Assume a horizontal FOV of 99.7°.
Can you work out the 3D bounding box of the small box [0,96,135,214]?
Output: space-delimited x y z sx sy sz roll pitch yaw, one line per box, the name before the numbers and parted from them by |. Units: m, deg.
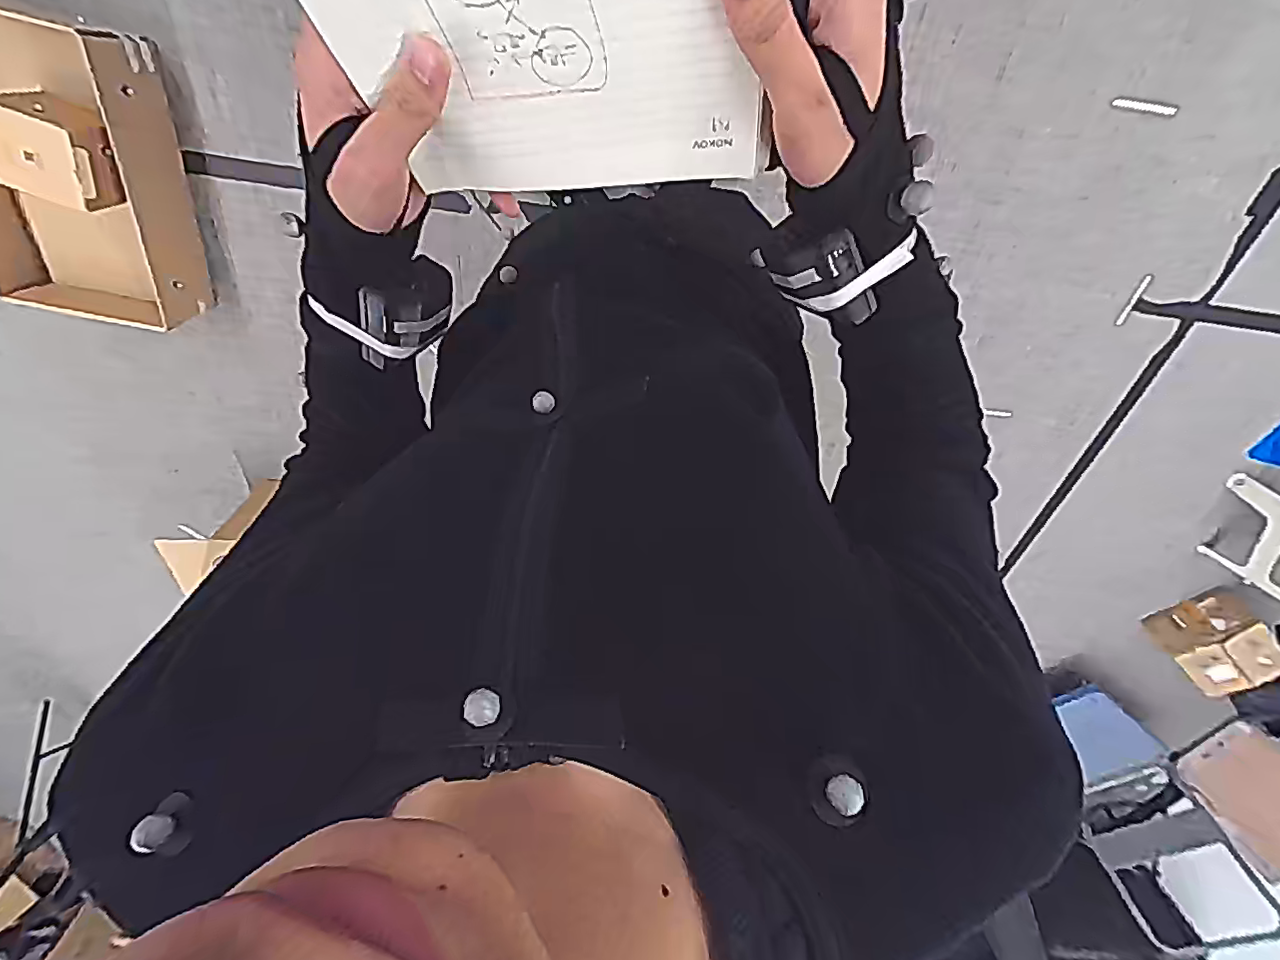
small box | -1.259 -0.716 1.182 0.179 0.176 0.168 17 126 -12
